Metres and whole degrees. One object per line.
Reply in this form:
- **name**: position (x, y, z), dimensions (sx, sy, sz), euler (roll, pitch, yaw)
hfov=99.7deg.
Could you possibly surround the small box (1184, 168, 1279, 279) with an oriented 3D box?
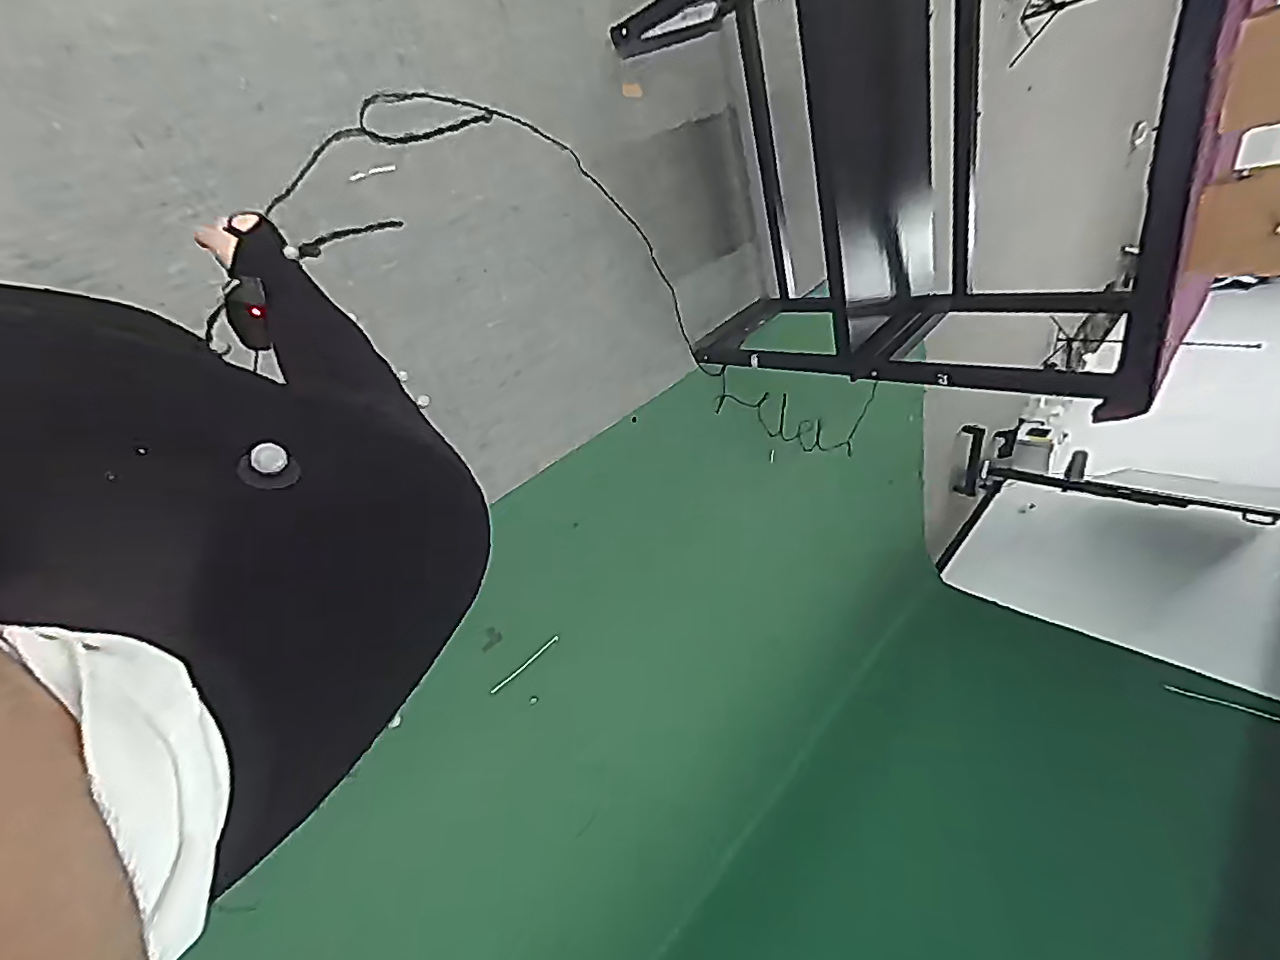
- **small box**: position (1.257, -0.526, 1.110), dimensions (0.168, 0.176, 0.179), euler (-39, 124, -28)

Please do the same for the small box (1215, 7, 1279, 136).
- **small box**: position (1.172, -0.748, 0.964), dimensions (0.168, 0.176, 0.179), euler (-38, 126, -28)
